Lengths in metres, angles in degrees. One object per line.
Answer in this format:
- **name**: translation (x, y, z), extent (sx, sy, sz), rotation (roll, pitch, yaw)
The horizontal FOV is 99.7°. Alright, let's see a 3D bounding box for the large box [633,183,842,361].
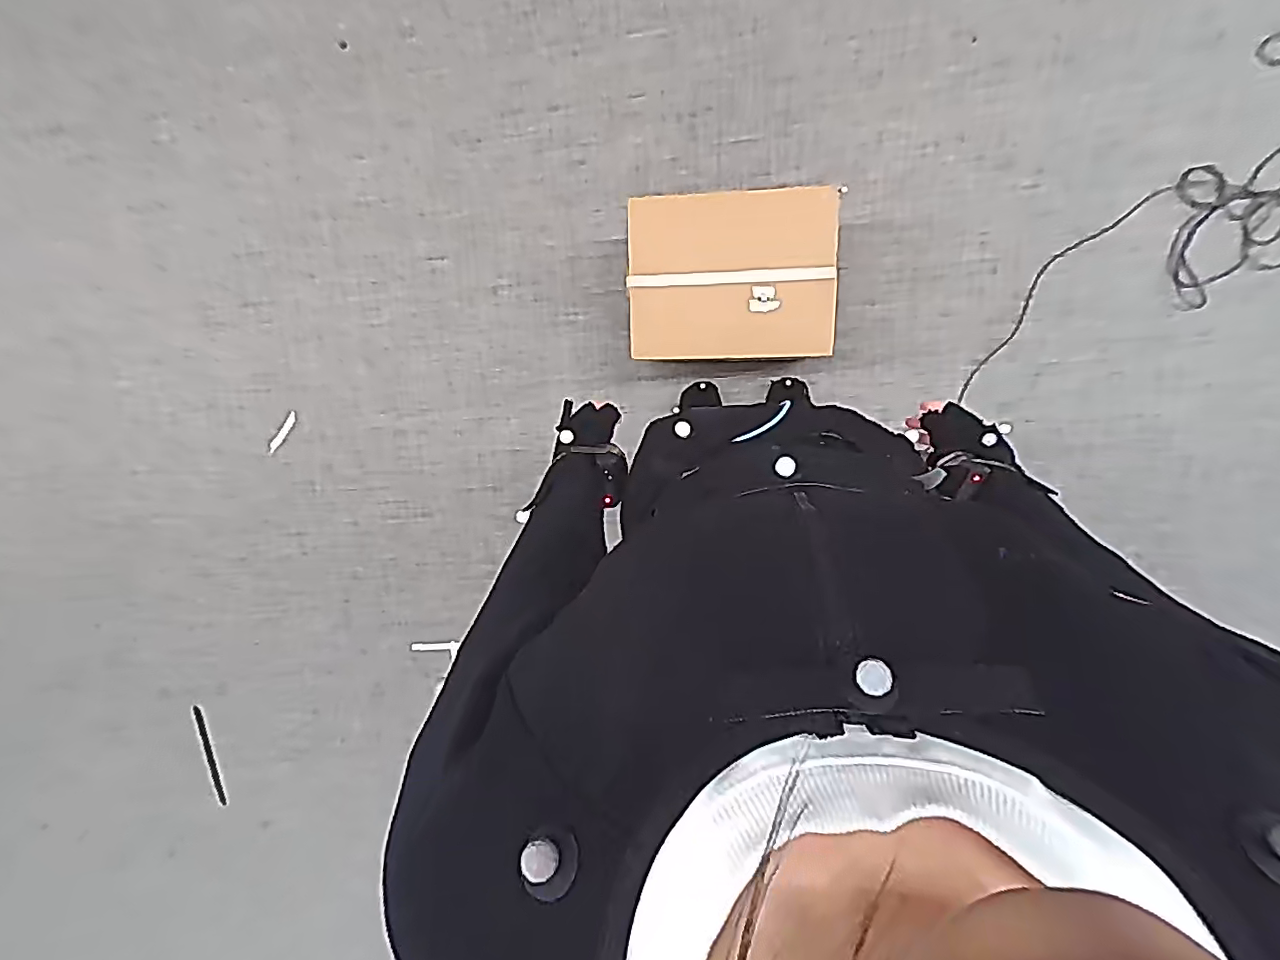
- **large box**: translation (0.206, -0.434, 1.212), extent (0.408, 0.320, 0.320), rotation (1, 102, 8)

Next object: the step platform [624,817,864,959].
- **step platform**: translation (0.294, 1.206, 1.596), extent (0.684, 0.204, 0.286), rotation (-3, 101, 11)
